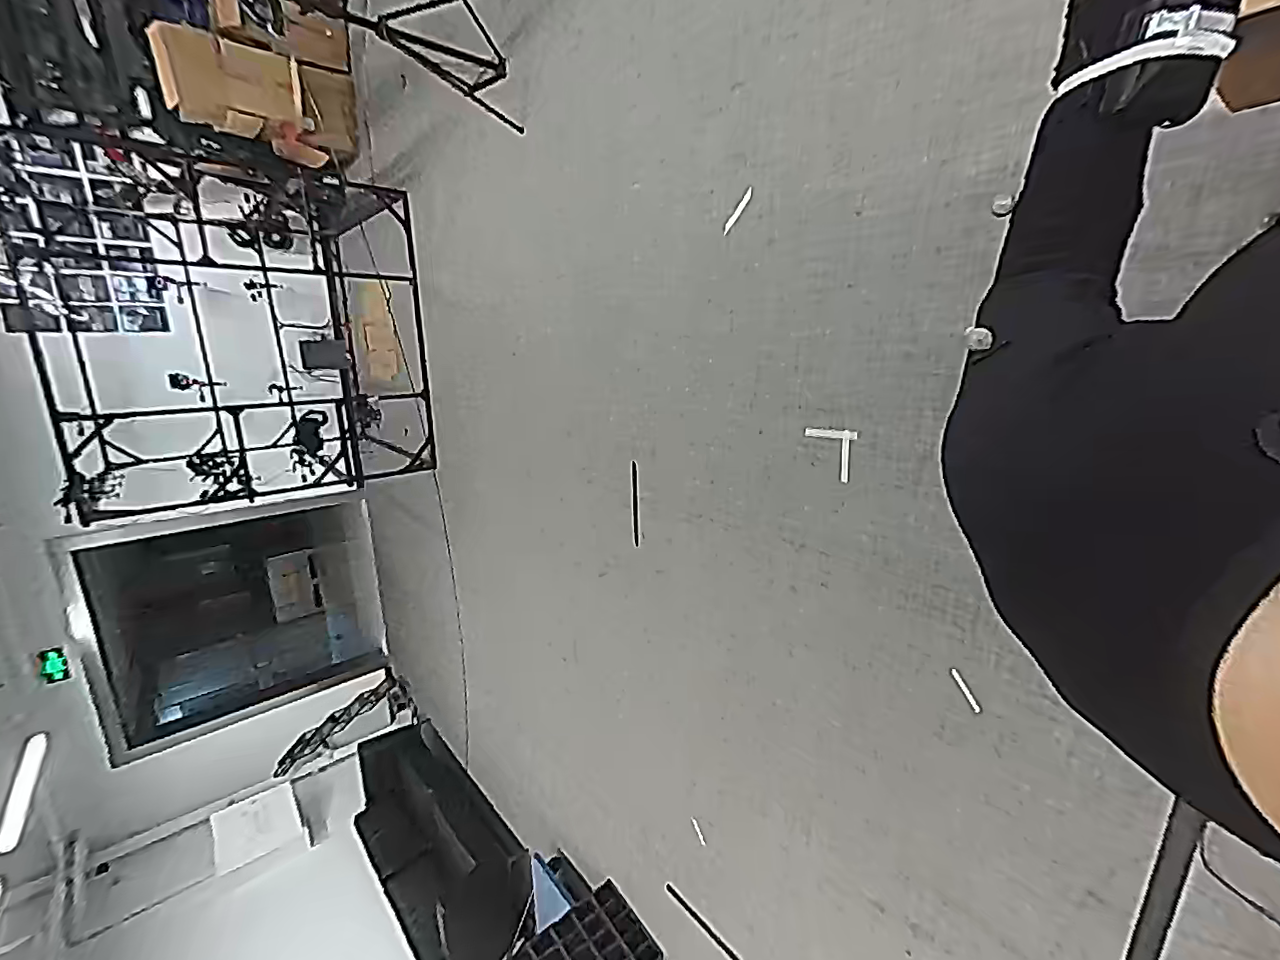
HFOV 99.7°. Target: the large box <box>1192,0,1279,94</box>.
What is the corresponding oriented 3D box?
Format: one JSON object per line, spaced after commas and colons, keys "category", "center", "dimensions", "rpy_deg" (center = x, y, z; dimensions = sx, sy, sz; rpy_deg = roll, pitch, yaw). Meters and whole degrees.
{"category": "large box", "center": [0.594, -0.464, 0.267], "dimensions": [0.408, 0.320, 0.320], "rpy_deg": [14, 116, 48]}
